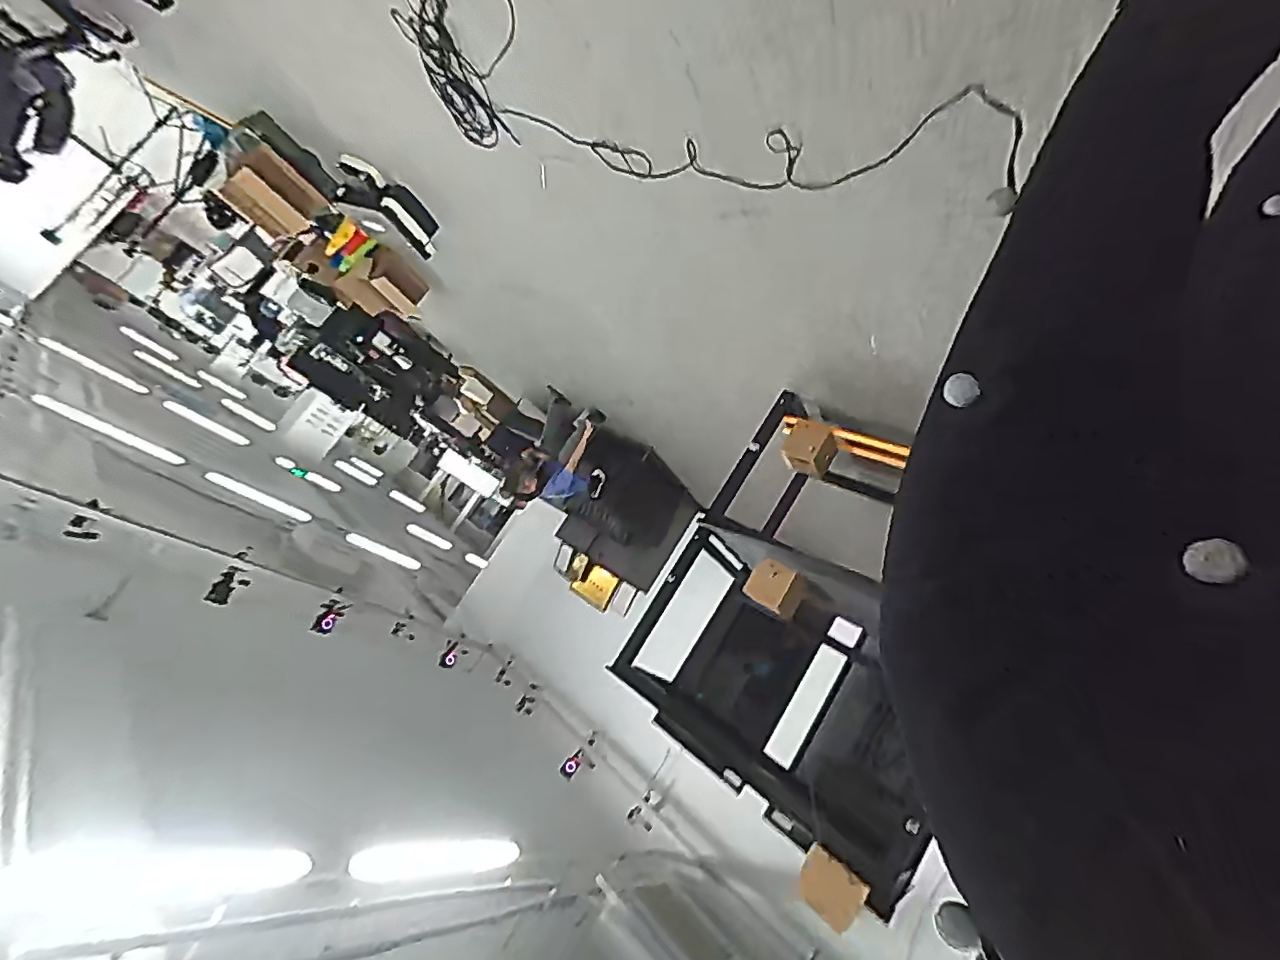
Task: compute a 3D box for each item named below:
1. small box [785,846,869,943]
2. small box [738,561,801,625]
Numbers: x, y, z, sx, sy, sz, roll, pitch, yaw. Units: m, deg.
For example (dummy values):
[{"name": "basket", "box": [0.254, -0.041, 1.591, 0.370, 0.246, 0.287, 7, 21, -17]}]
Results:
[{"name": "small box", "box": [0.573, 1.253, 1.649, 0.168, 0.176, 0.179, 25, 167, 41]}, {"name": "small box", "box": [0.531, 0.455, 2.191, 0.168, 0.176, 0.179, 23, 166, 40]}]
